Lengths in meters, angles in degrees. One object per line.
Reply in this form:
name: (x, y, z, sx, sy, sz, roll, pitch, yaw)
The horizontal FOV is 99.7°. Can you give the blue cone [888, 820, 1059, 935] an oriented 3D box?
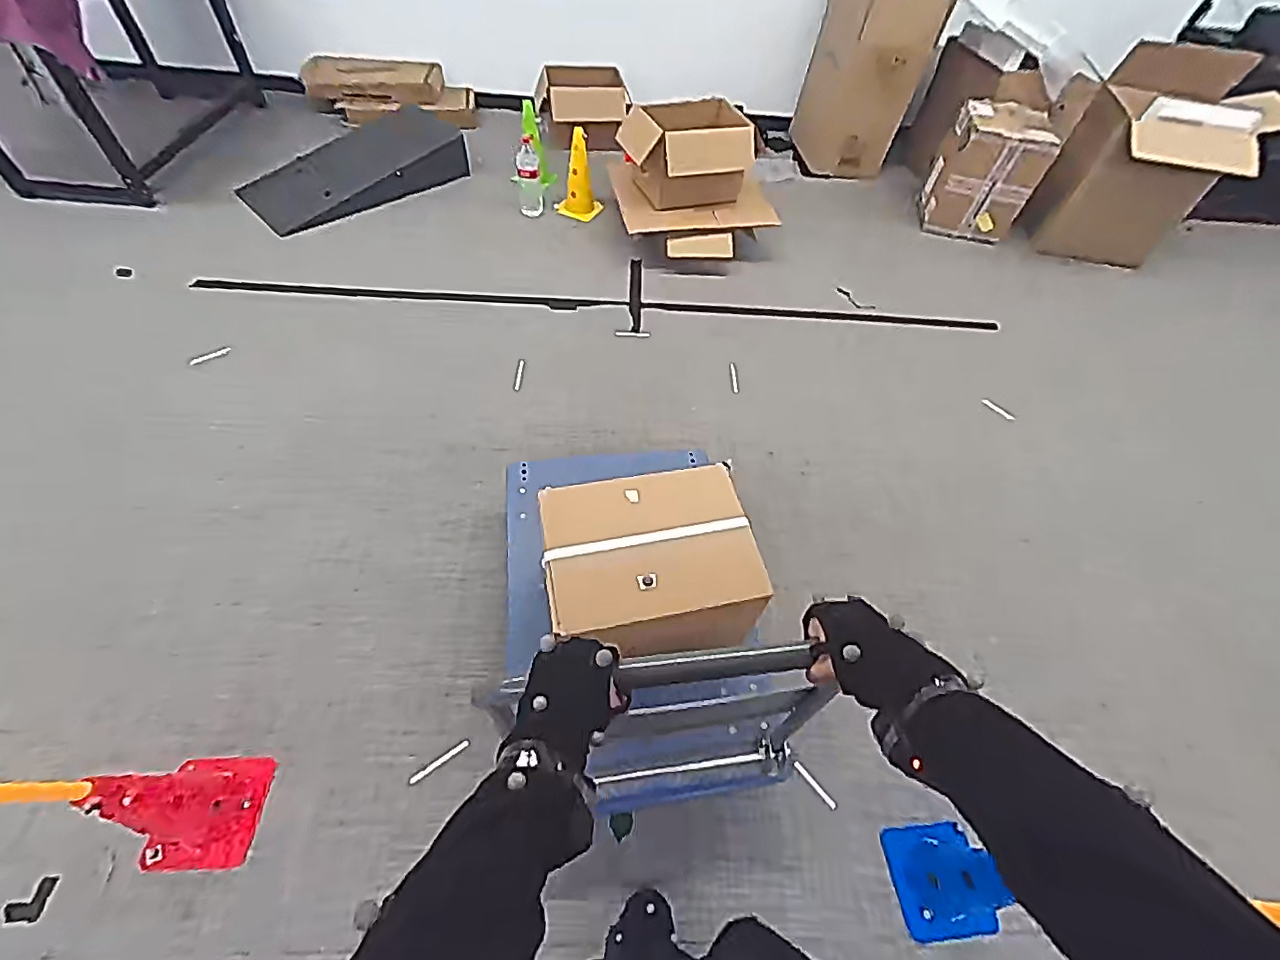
blue cone: (0.658, 0.747, 1.028, 0.193, 0.380, 0.192, -1, 53, -6)
